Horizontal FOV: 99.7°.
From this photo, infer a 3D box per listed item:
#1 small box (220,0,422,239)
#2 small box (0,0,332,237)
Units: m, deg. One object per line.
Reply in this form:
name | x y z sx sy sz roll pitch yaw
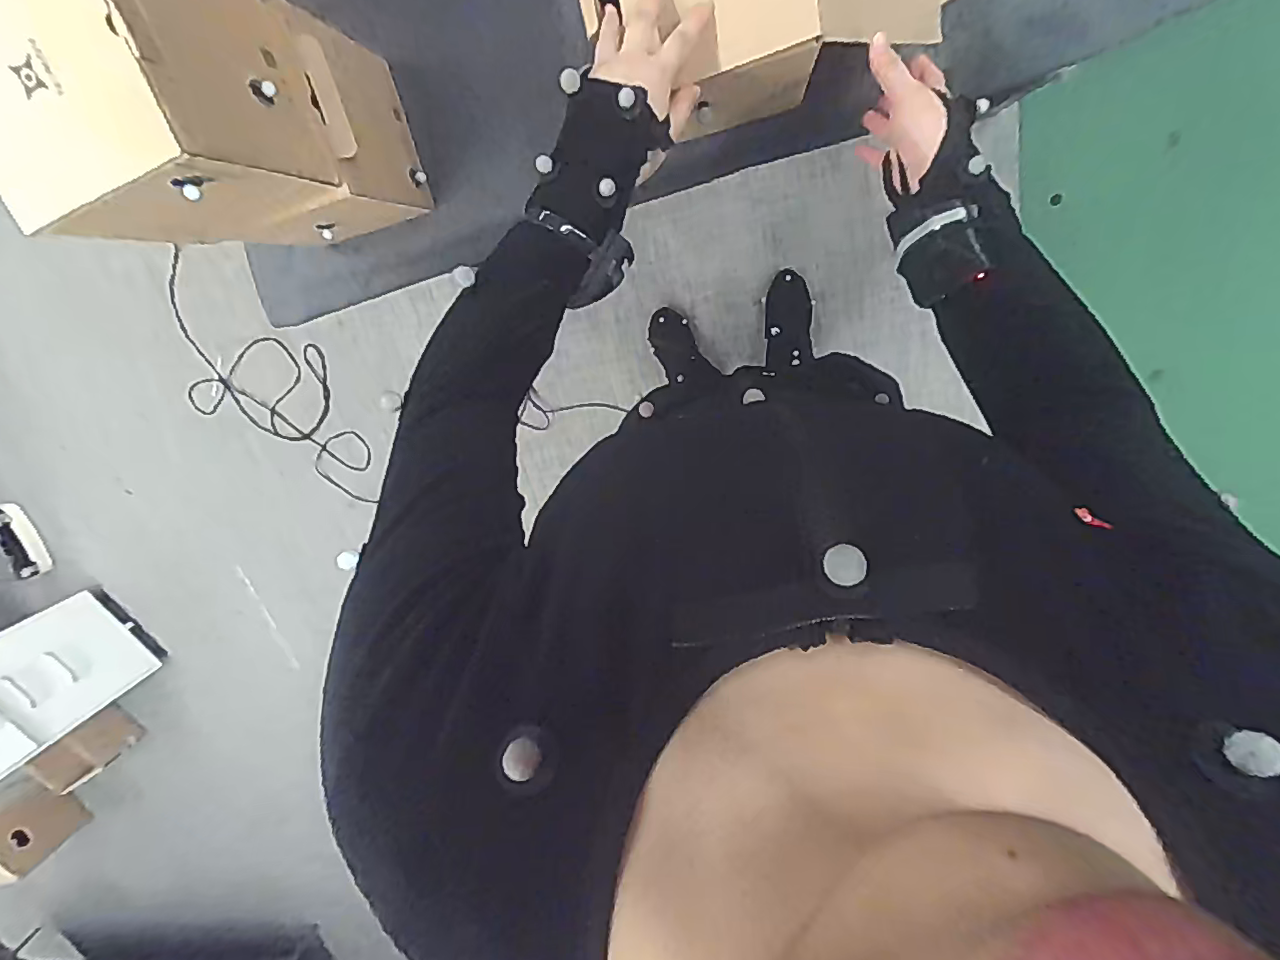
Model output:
small box | -0.371 -0.376 0.600 0.179 0.176 0.168 -9 110 14
small box | -0.412 -0.316 0.454 0.179 0.176 0.168 -14 108 14
